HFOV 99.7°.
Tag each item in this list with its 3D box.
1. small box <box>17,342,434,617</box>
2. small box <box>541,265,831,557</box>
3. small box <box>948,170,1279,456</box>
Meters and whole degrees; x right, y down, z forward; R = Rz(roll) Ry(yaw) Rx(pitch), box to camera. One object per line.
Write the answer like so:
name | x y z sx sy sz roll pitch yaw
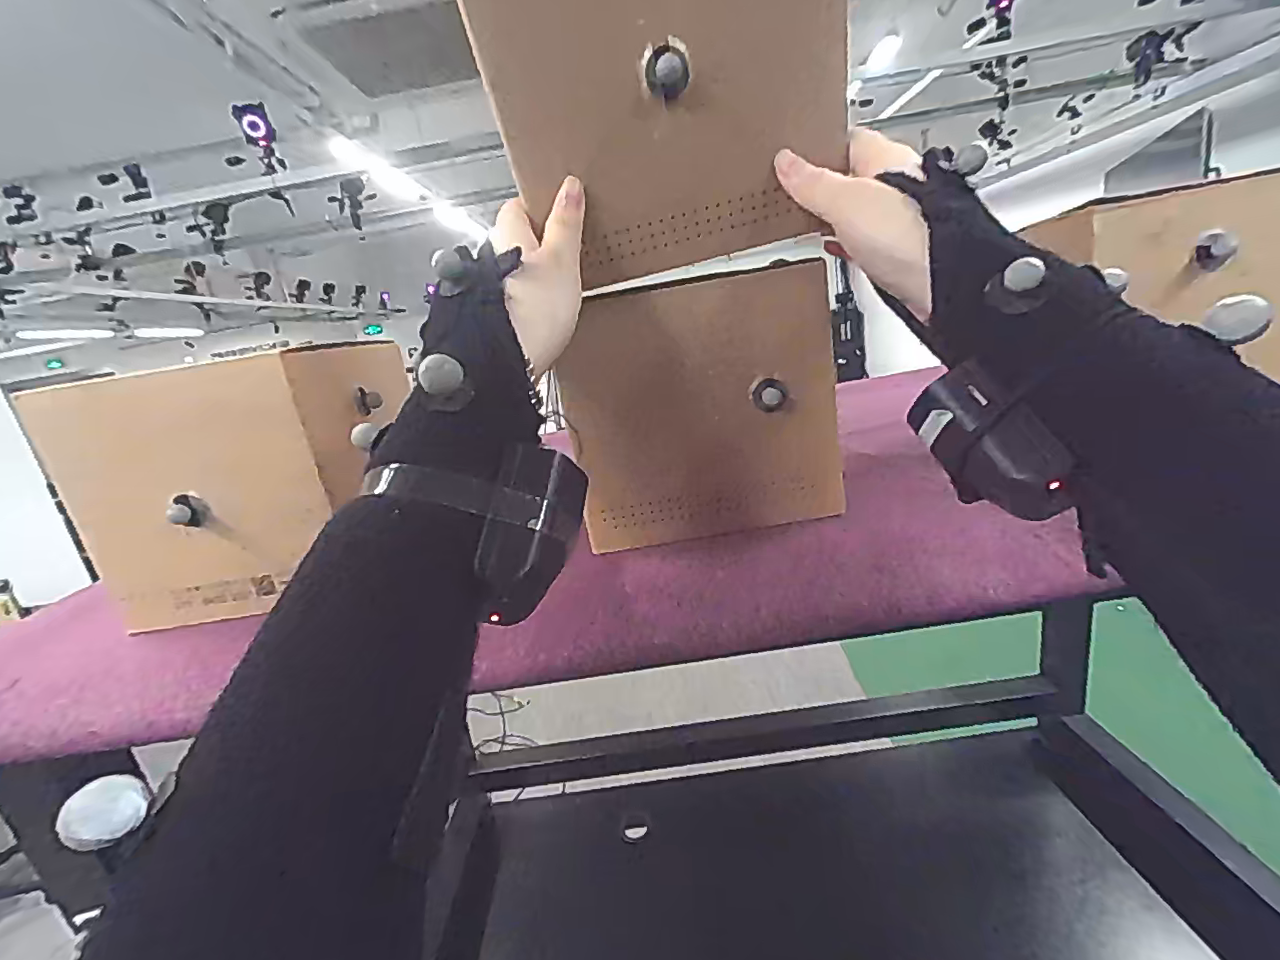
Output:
small box | -0.281 -0.006 0.422 0.168 0.176 0.179 -8 16 1
small box | 0.037 -0.057 0.420 0.179 0.176 0.168 -11 15 1
small box | 0.379 -0.121 0.431 0.179 0.176 0.168 -9 14 3
